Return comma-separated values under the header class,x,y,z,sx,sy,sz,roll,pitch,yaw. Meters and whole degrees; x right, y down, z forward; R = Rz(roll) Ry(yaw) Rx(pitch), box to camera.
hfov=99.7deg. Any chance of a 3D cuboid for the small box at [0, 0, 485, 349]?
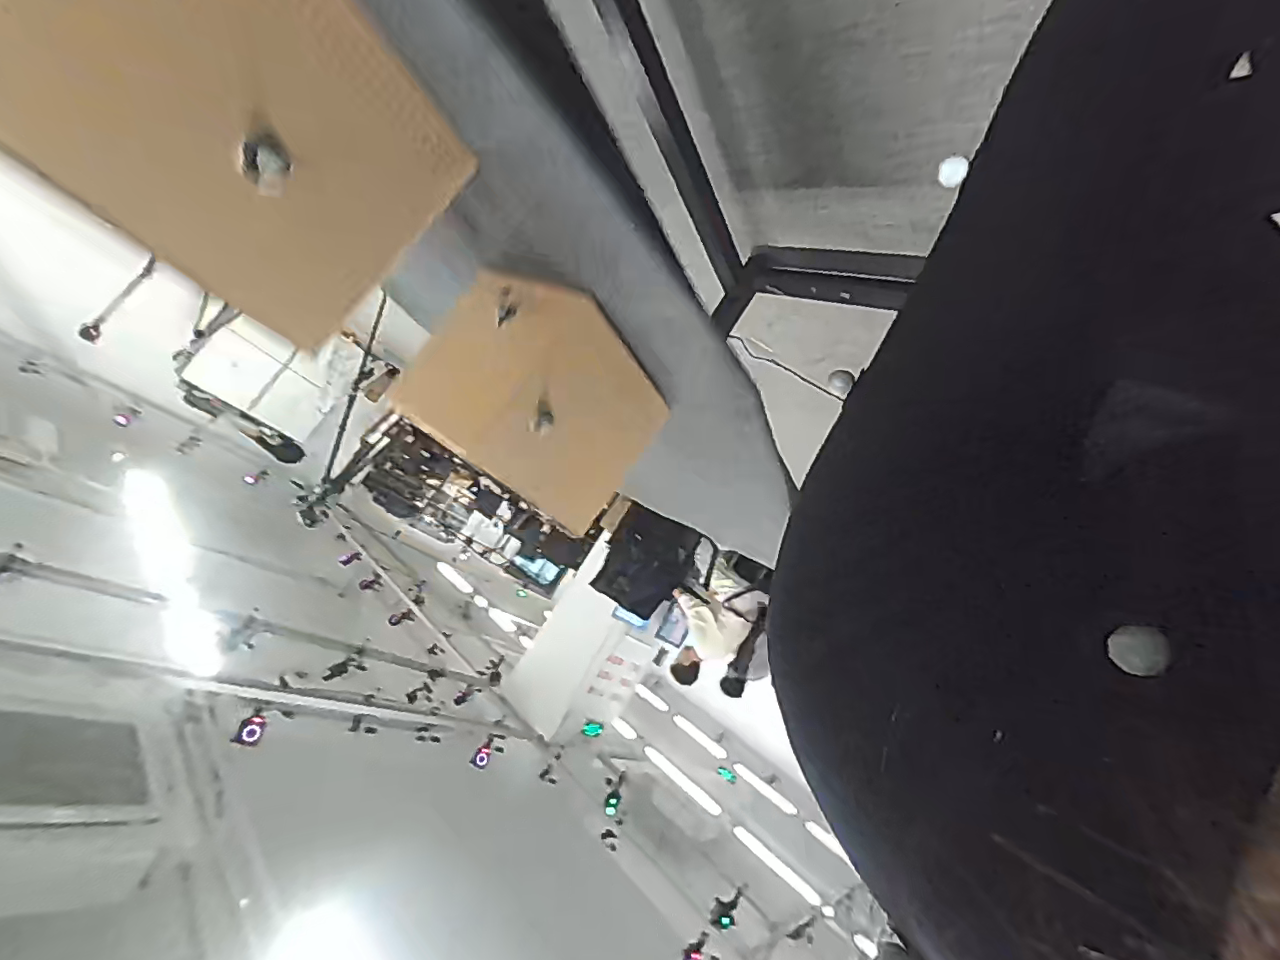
class,x,y,z,sx,sy,sz,roll,pitch,yaw
small box,-0.234,-0.215,0.325,0.168,0.176,0.179,31,172,38
